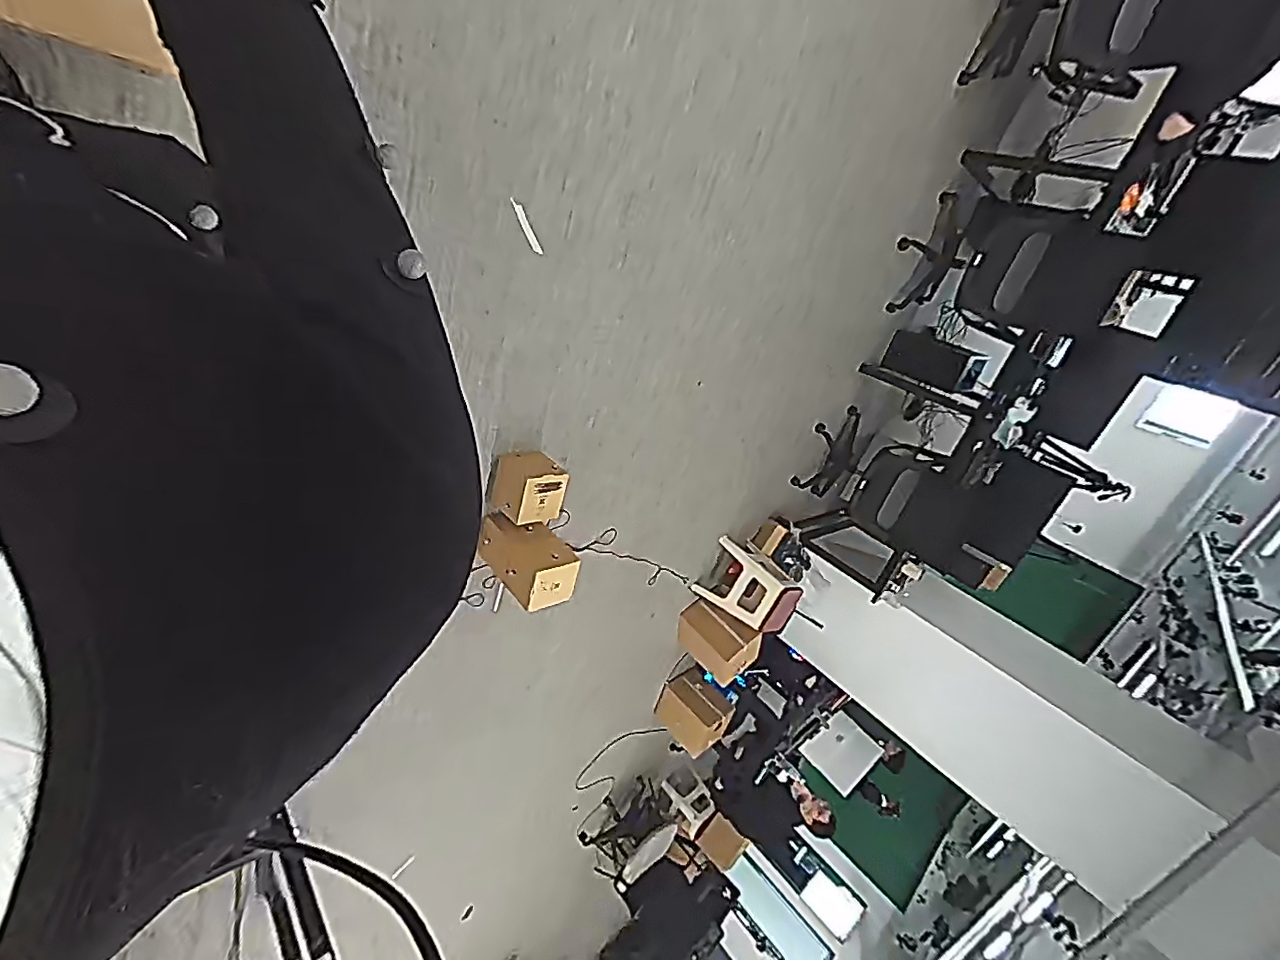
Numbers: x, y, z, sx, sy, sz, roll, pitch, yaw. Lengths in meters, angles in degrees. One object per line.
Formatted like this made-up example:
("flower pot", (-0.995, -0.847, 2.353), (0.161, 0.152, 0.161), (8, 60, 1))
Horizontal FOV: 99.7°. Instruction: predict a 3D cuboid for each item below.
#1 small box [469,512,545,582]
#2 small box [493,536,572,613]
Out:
("small box", (-0.464, 0.223, 1.879), (0.179, 0.176, 0.168), (-6, 123, -45))
("small box", (-0.356, 0.303, 1.783), (0.179, 0.176, 0.168), (-8, 124, -45))
